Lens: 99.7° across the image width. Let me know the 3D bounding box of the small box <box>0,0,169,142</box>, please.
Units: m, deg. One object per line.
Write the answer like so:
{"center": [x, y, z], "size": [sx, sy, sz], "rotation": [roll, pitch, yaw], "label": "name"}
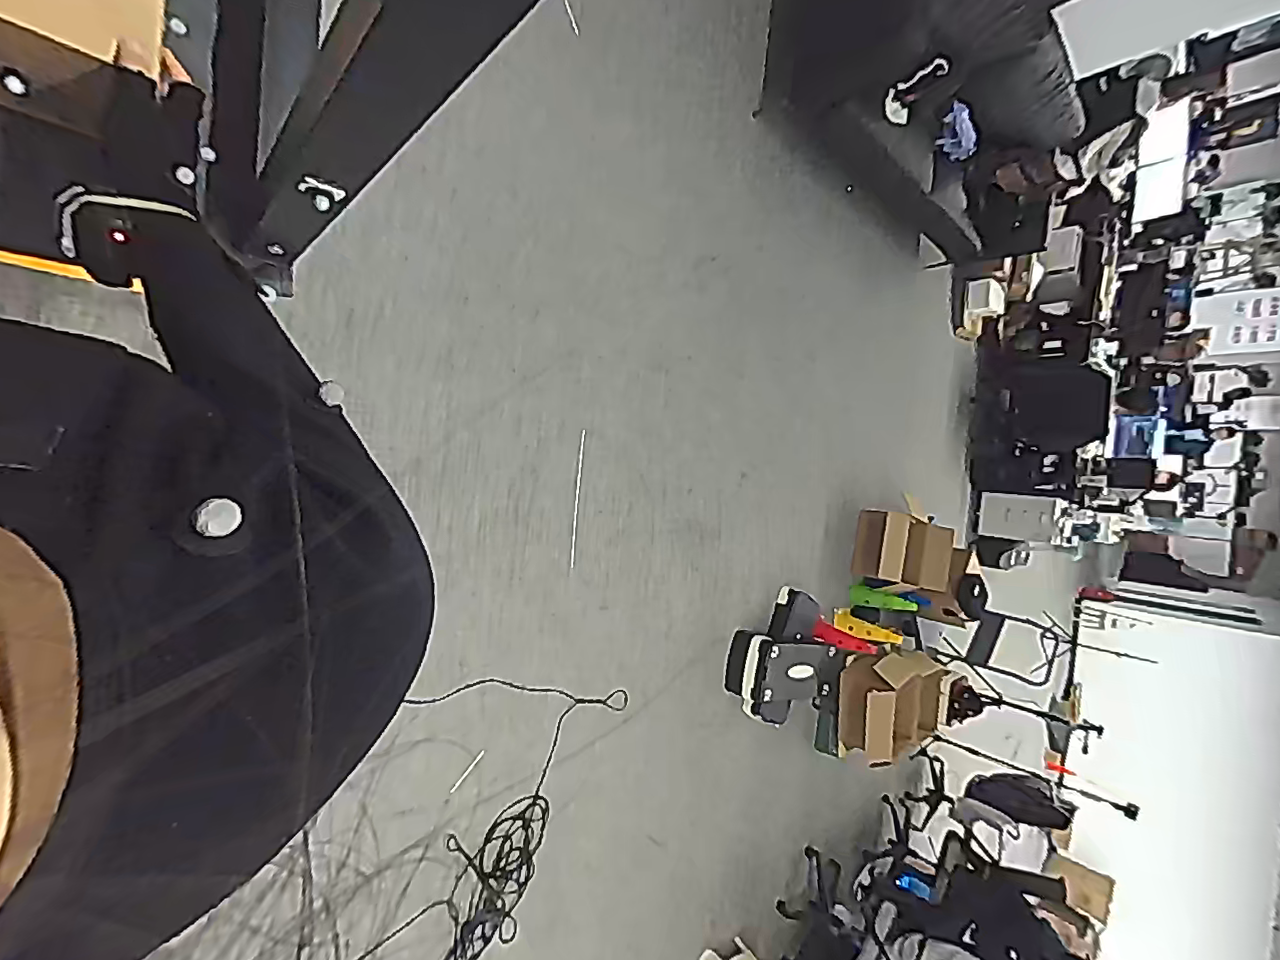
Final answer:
{"center": [-0.508, -0.429, 0.454], "size": [0.168, 0.176, 0.179], "rotation": [5, 90, -44], "label": "small box"}
